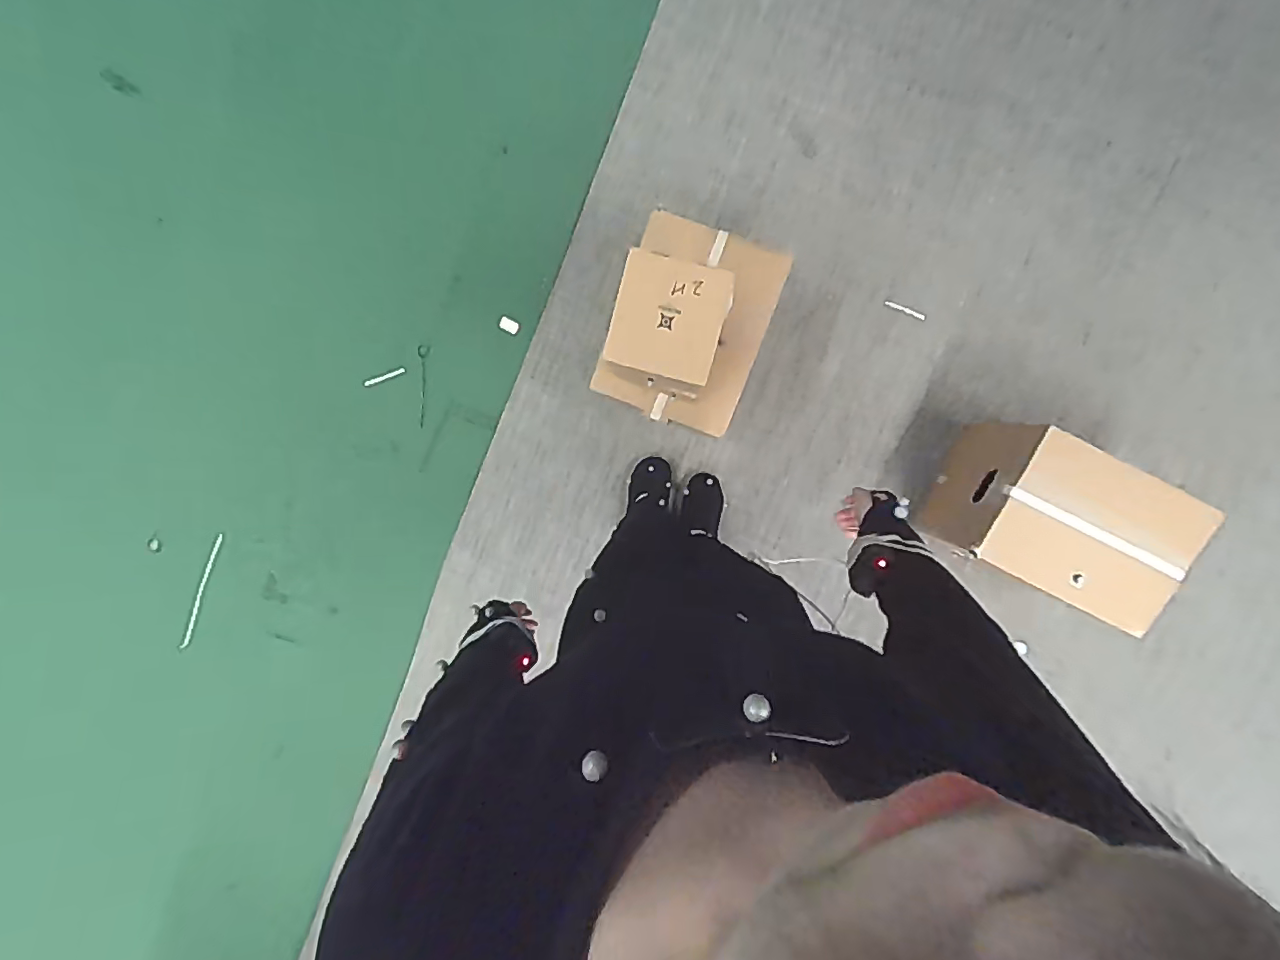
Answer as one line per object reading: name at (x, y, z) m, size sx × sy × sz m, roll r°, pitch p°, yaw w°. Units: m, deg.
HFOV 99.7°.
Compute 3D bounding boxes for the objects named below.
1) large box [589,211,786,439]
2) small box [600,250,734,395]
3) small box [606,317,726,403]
large box at (0.106, -0.335, 1.288) m, size 0.320 × 0.320 × 0.408 m, roll 21°, pitch 95°, yaw 1°
small box at (0.045, -0.246, 0.890) m, size 0.168 × 0.176 × 0.179 m, roll 16°, pitch 95°, yaw 1°
small box at (0.051, -0.254, 1.053) m, size 0.179 × 0.176 × 0.168 m, roll 20°, pitch 95°, yaw 2°
